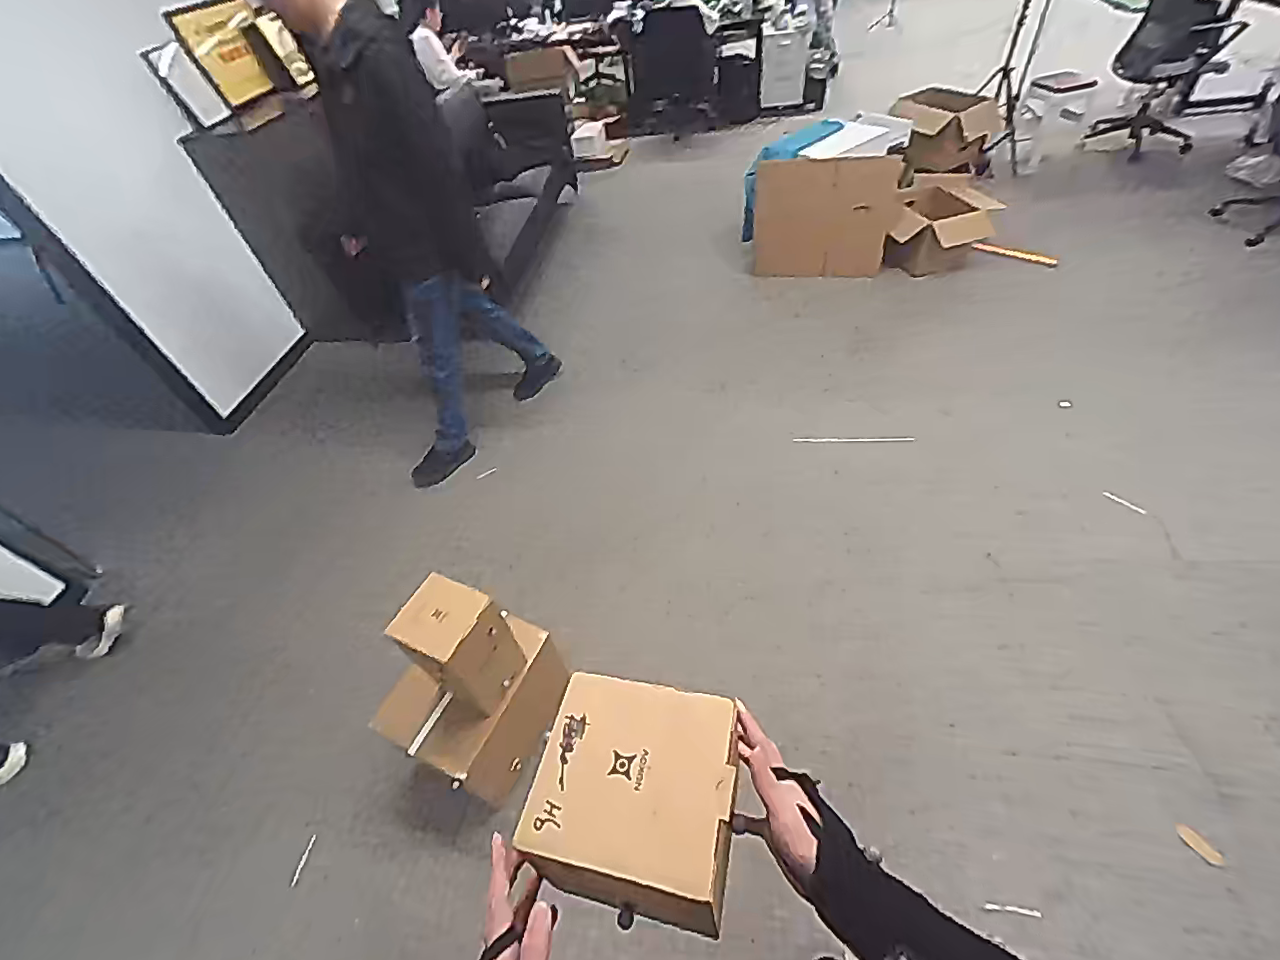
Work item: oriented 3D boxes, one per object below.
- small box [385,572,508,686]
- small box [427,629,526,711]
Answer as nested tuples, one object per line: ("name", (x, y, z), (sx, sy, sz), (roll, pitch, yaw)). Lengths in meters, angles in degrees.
("small box", (-0.428, 0.345, 1.231), (0.179, 0.176, 0.168), (16, 52, 21))
("small box", (-0.415, 0.449, 1.356), (0.179, 0.176, 0.168), (19, 54, 22))
